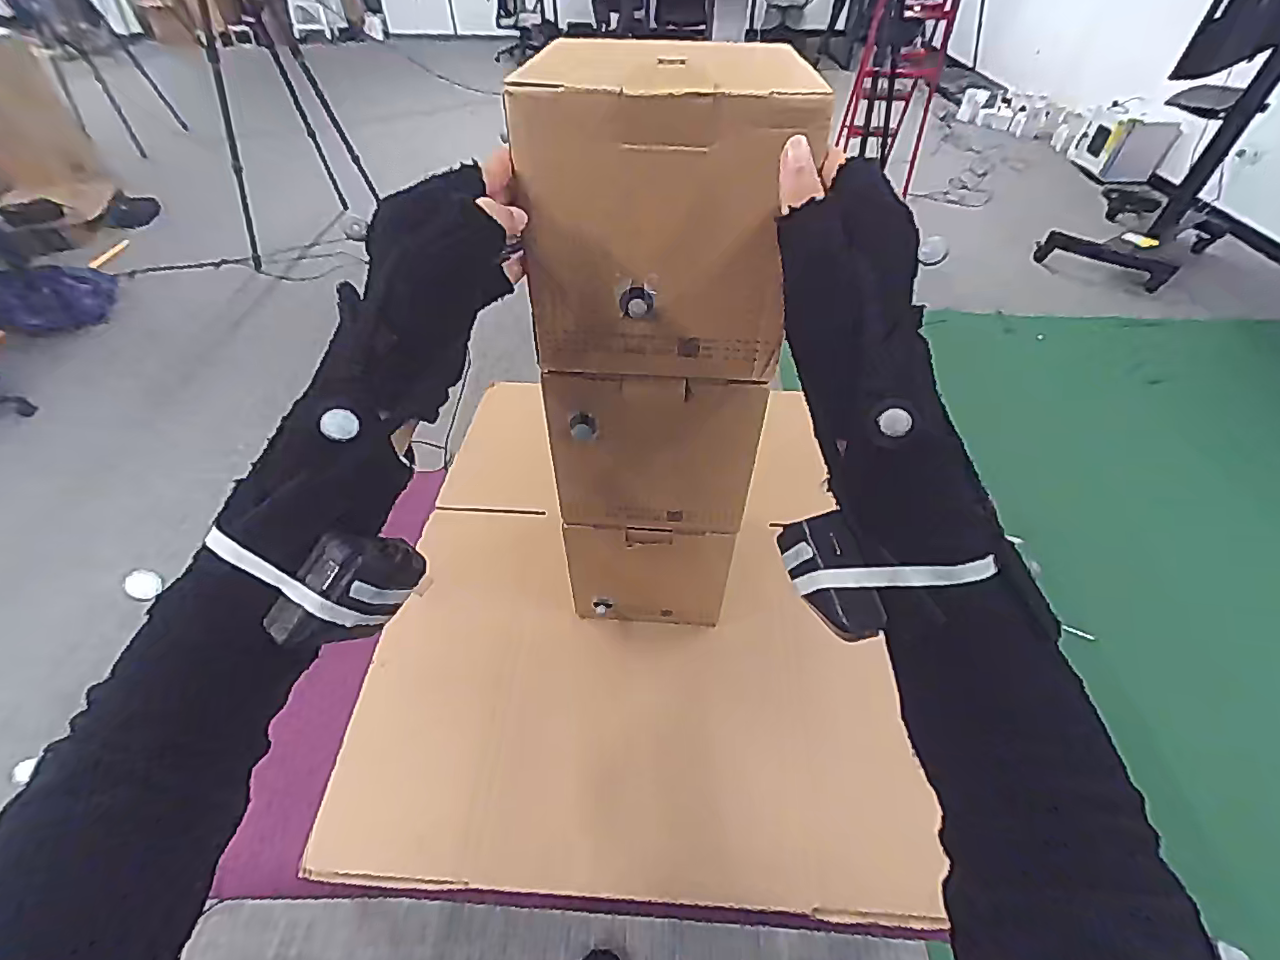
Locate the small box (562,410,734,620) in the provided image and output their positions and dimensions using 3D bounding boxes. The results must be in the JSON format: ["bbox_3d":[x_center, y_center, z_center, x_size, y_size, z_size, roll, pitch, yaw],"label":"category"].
[{"bbox_3d":[0.014,0.042,0.618,0.168,0.176,0.179,3,46,3],"label":"small box"}]

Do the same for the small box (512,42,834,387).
[{"bbox_3d":[0.019,-0.189,0.384,0.168,0.176,0.179,3,46,2],"label":"small box"}]
